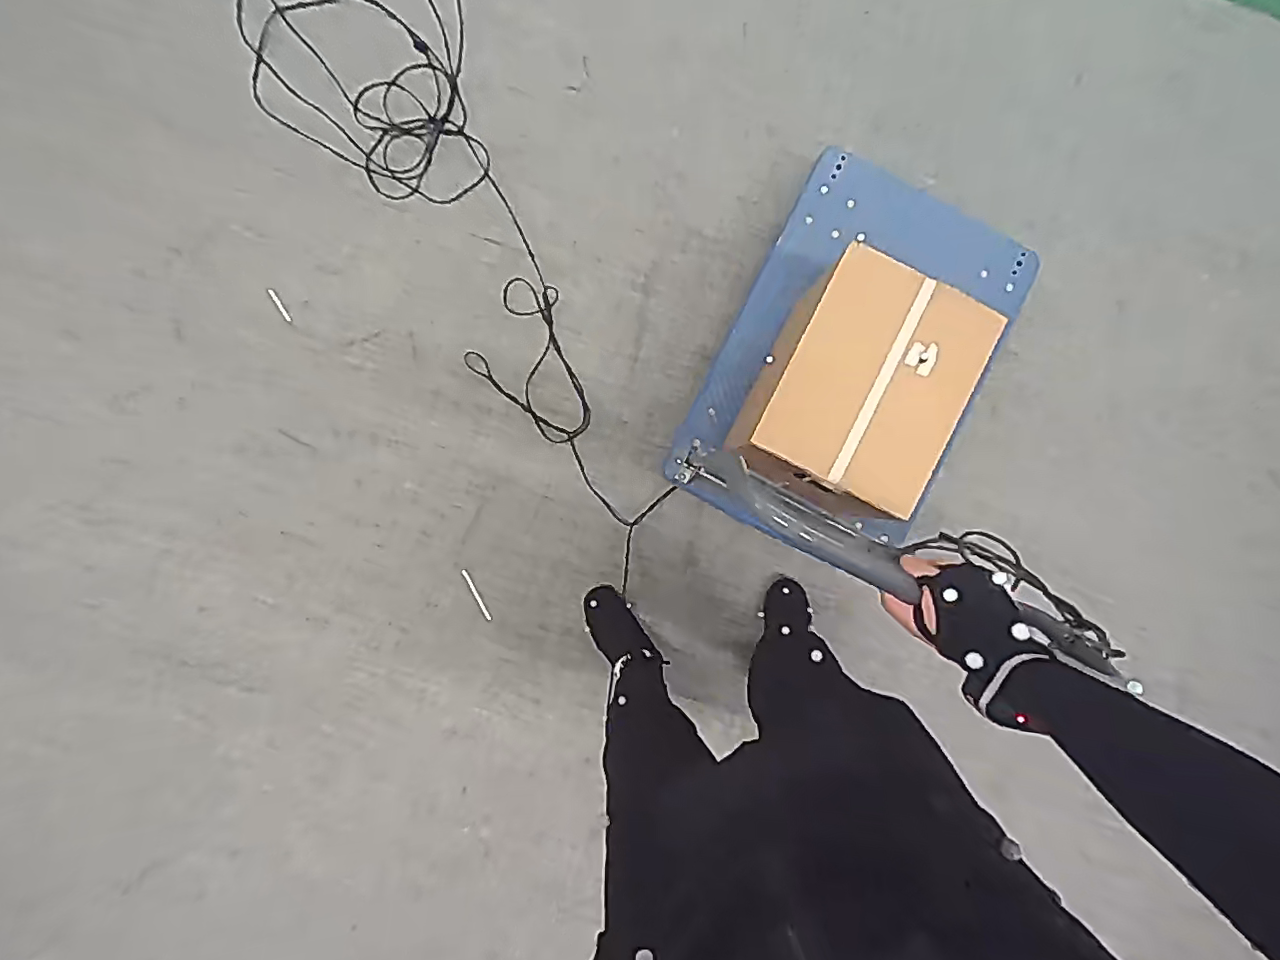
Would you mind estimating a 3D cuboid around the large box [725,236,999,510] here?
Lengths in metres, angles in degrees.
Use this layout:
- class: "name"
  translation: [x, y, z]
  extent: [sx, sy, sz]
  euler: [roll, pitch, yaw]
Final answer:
- class: "large box"
  translation: [0.412, -0.184, 1.097]
  extent: [0.320, 0.320, 0.408]
  euler: [27, 88, -2]
